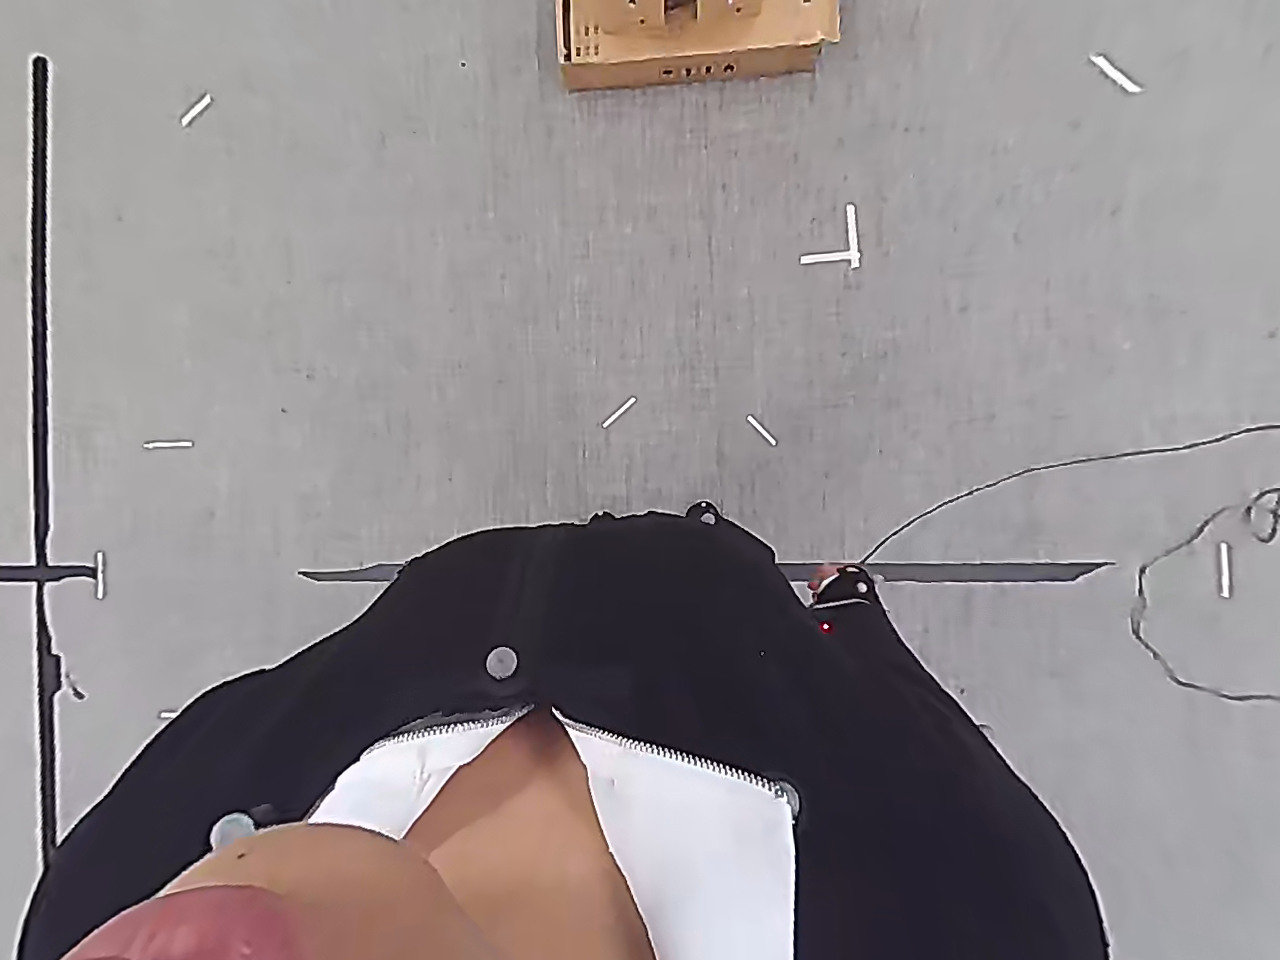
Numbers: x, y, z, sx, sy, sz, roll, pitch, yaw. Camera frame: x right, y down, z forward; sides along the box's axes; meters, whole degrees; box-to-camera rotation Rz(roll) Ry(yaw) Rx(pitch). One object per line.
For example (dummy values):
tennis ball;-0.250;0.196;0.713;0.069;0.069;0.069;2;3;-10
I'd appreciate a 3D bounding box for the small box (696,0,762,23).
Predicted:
small box;0.220;-1.289;1.335;0.168;0.176;0.179;-3;88;4

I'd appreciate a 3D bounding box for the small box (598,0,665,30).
small box;-0.026;-1.273;1.352;0.168;0.176;0.179;-4;88;4
